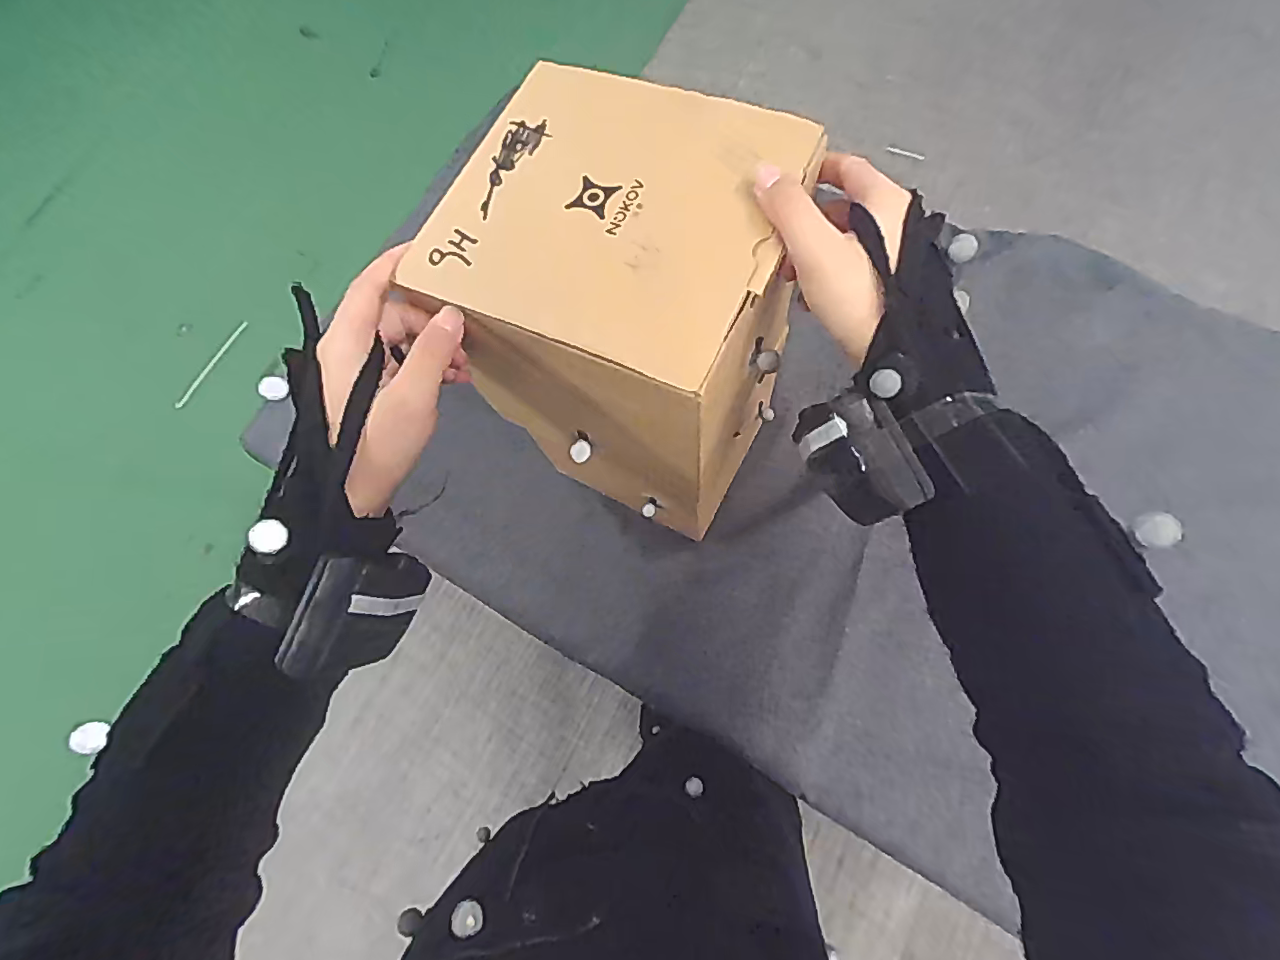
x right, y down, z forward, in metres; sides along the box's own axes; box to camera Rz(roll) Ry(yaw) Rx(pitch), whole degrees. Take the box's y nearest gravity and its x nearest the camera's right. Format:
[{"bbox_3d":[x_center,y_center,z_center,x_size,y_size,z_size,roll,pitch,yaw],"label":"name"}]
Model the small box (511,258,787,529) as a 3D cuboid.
[{"bbox_3d":[0.015,-0.068,0.514,0.179,0.176,0.168,25,75,14],"label":"small box"}]
